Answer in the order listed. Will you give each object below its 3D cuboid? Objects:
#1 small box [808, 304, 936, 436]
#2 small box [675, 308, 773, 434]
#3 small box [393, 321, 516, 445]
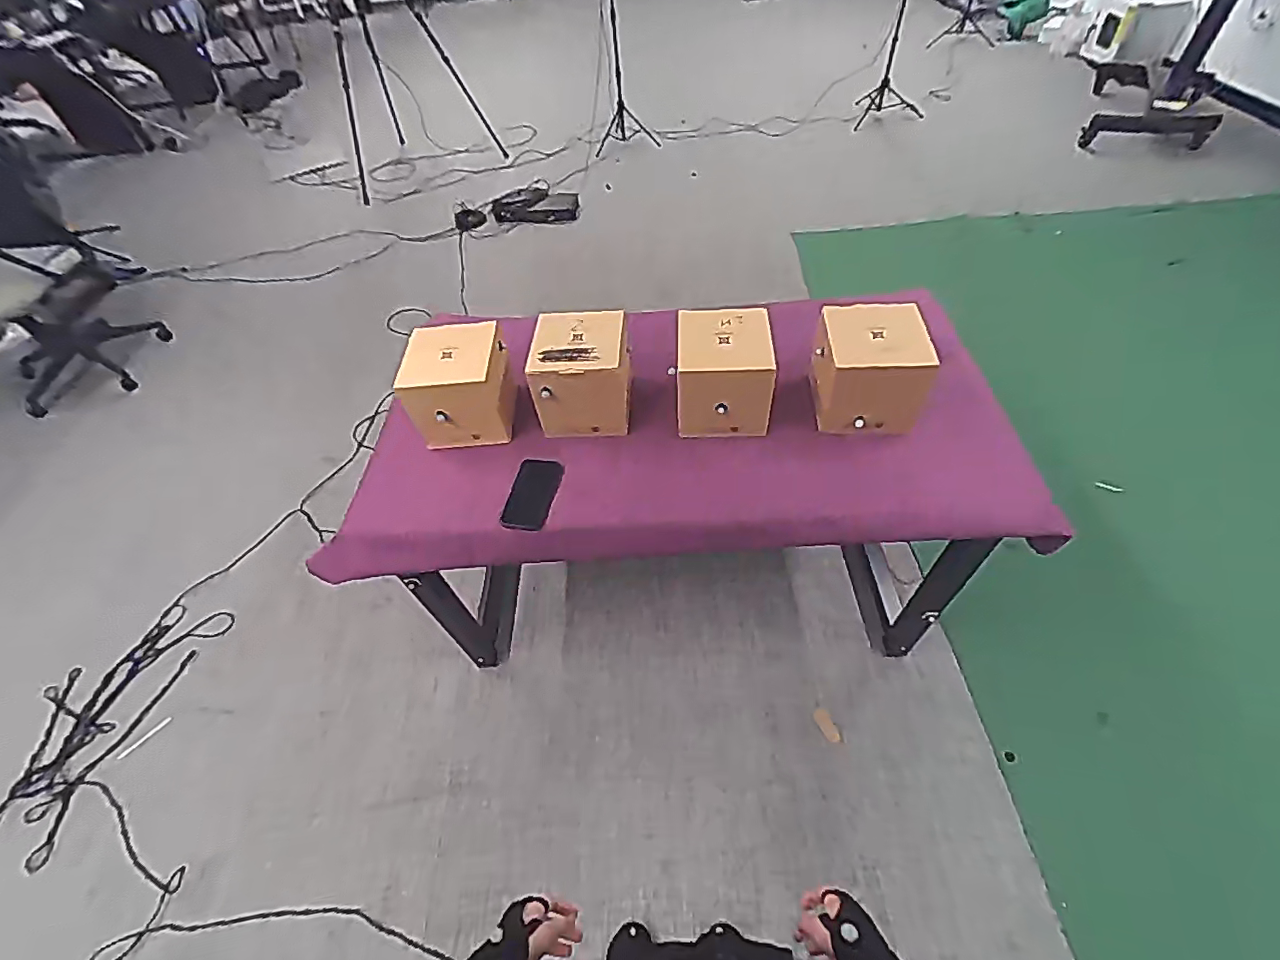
[{"bbox_3d":[0.412,-0.202,0.995,0.168,0.176,0.179,0,52,7],"label":"small box"},{"bbox_3d":[0.152,-0.199,1.017,0.168,0.176,0.179,0,51,5],"label":"small box"},{"bbox_3d":[-0.347,-0.180,1.050,0.168,0.176,0.179,-5,50,2],"label":"small box"}]
